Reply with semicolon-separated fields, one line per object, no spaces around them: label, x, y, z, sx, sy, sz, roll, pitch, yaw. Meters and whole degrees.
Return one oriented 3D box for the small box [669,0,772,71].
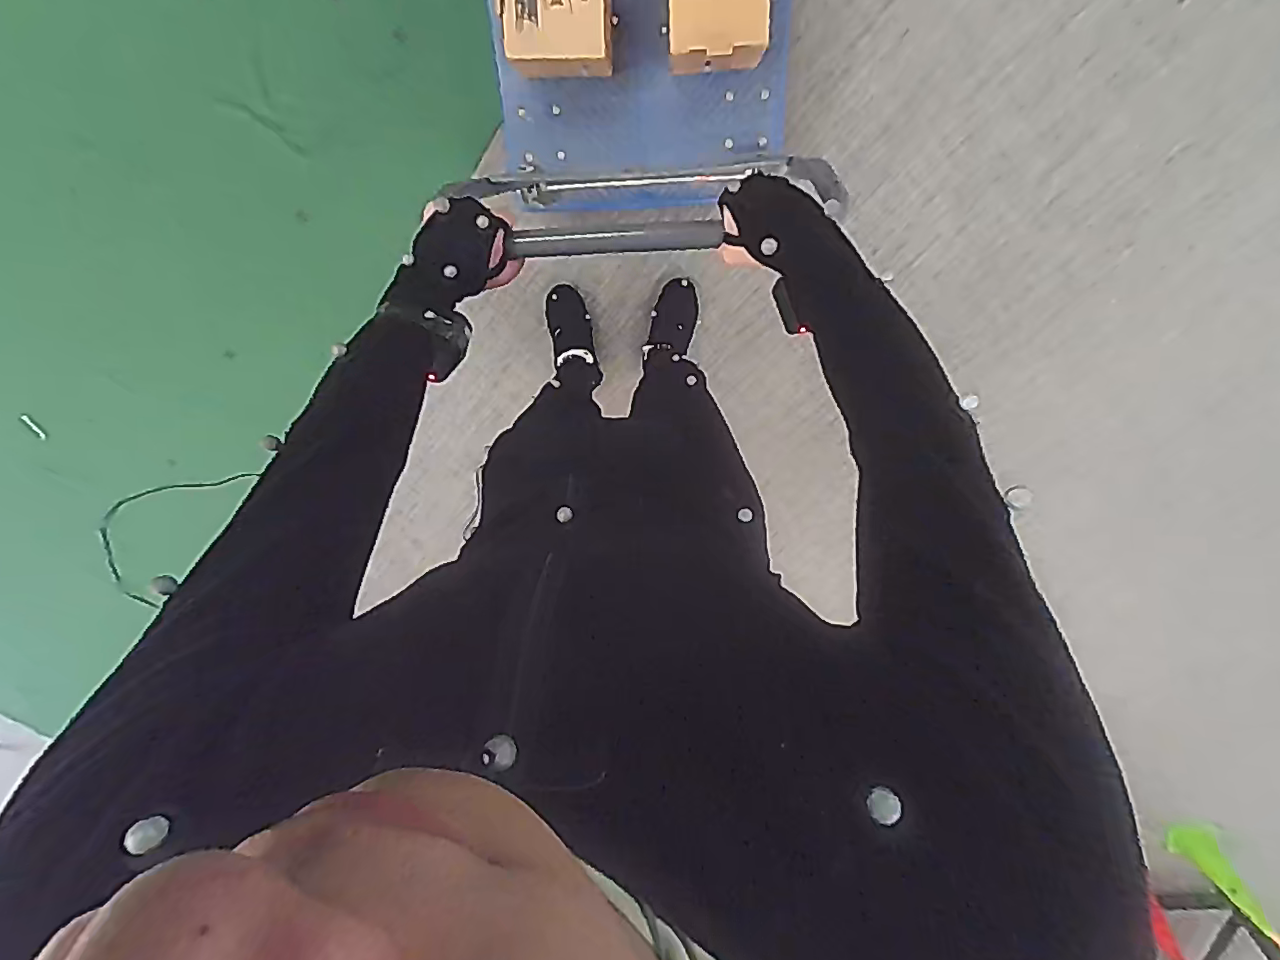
small box;0.134;-0.838;0.938;0.168;0.176;0.179;-2;119;4
